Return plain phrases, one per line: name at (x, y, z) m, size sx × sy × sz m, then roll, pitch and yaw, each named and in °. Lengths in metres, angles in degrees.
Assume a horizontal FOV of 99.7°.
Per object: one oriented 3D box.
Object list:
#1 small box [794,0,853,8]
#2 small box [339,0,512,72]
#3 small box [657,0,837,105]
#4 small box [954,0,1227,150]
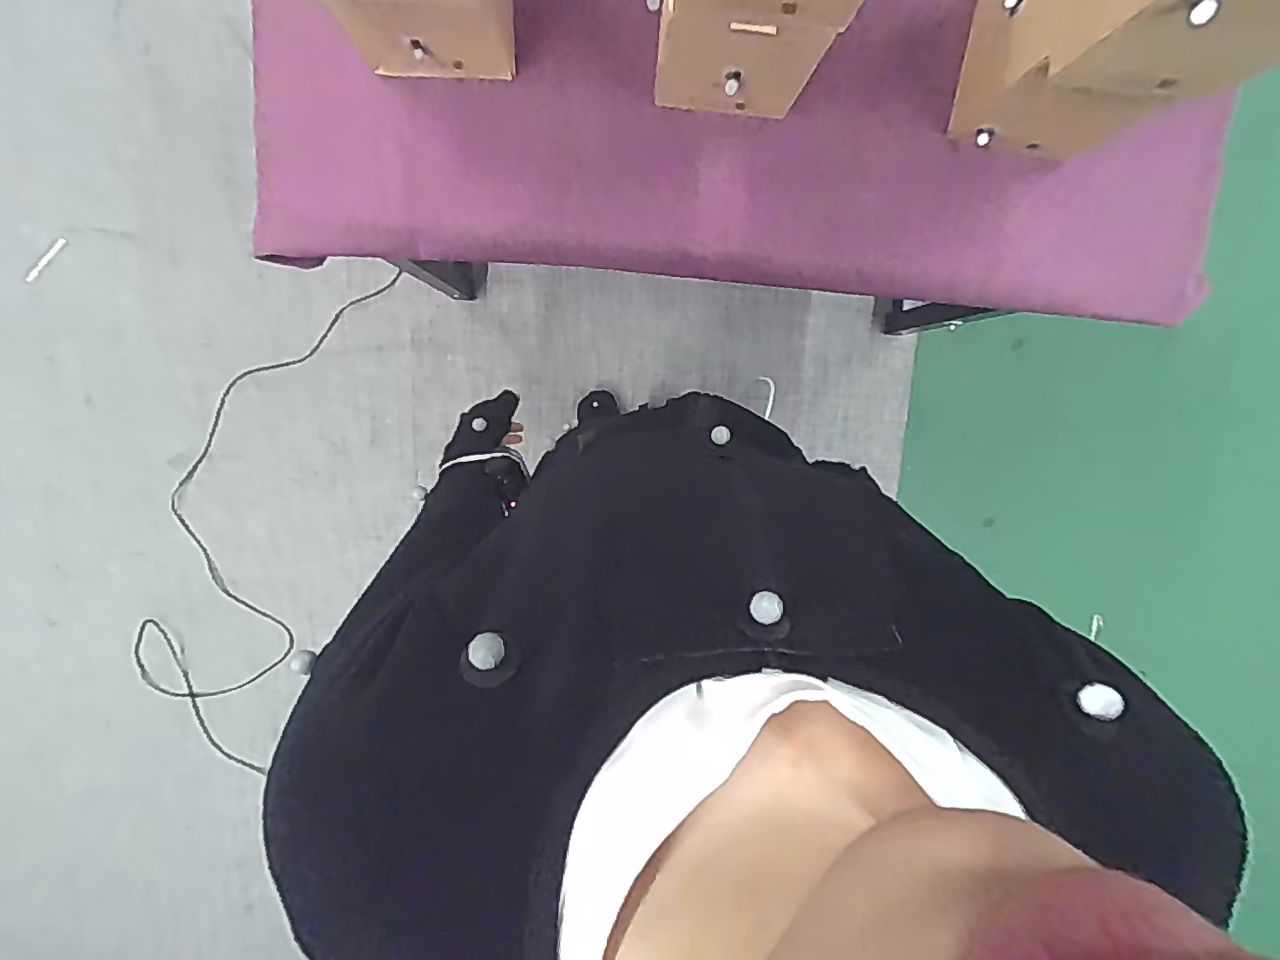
small box at (0.122, -0.498, 0.394) m, size 0.168 × 0.176 × 0.179 m, roll 3°, pitch 100°, yaw -3°
small box at (-0.228, -0.561, 0.549) m, size 0.168 × 0.176 × 0.179 m, roll -1°, pitch 101°, yaw -3°
small box at (0.107, -0.531, 0.572) m, size 0.168 × 0.176 × 0.179 m, roll 1°, pitch 99°, yaw -2°
small box at (0.483, -0.498, 0.594) m, size 0.168 × 0.176 × 0.179 m, roll 9°, pitch 99°, yaw -4°
